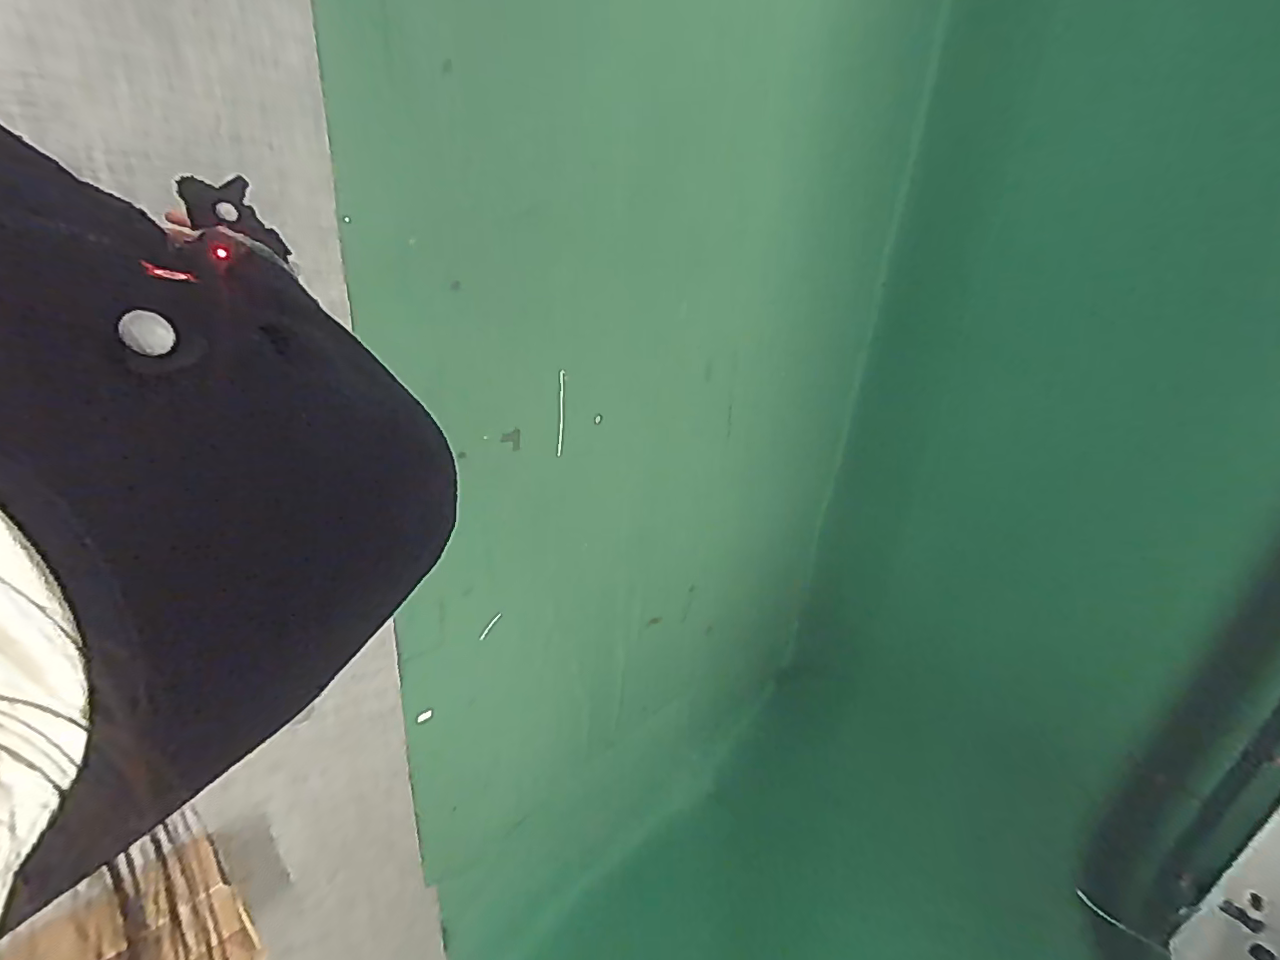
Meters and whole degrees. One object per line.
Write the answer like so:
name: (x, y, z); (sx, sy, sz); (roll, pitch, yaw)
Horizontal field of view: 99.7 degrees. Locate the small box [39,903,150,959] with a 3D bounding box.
small box: (-1.326, 1.203, 1.316); (0.179, 0.176, 0.168); (-22, 127, -42)
